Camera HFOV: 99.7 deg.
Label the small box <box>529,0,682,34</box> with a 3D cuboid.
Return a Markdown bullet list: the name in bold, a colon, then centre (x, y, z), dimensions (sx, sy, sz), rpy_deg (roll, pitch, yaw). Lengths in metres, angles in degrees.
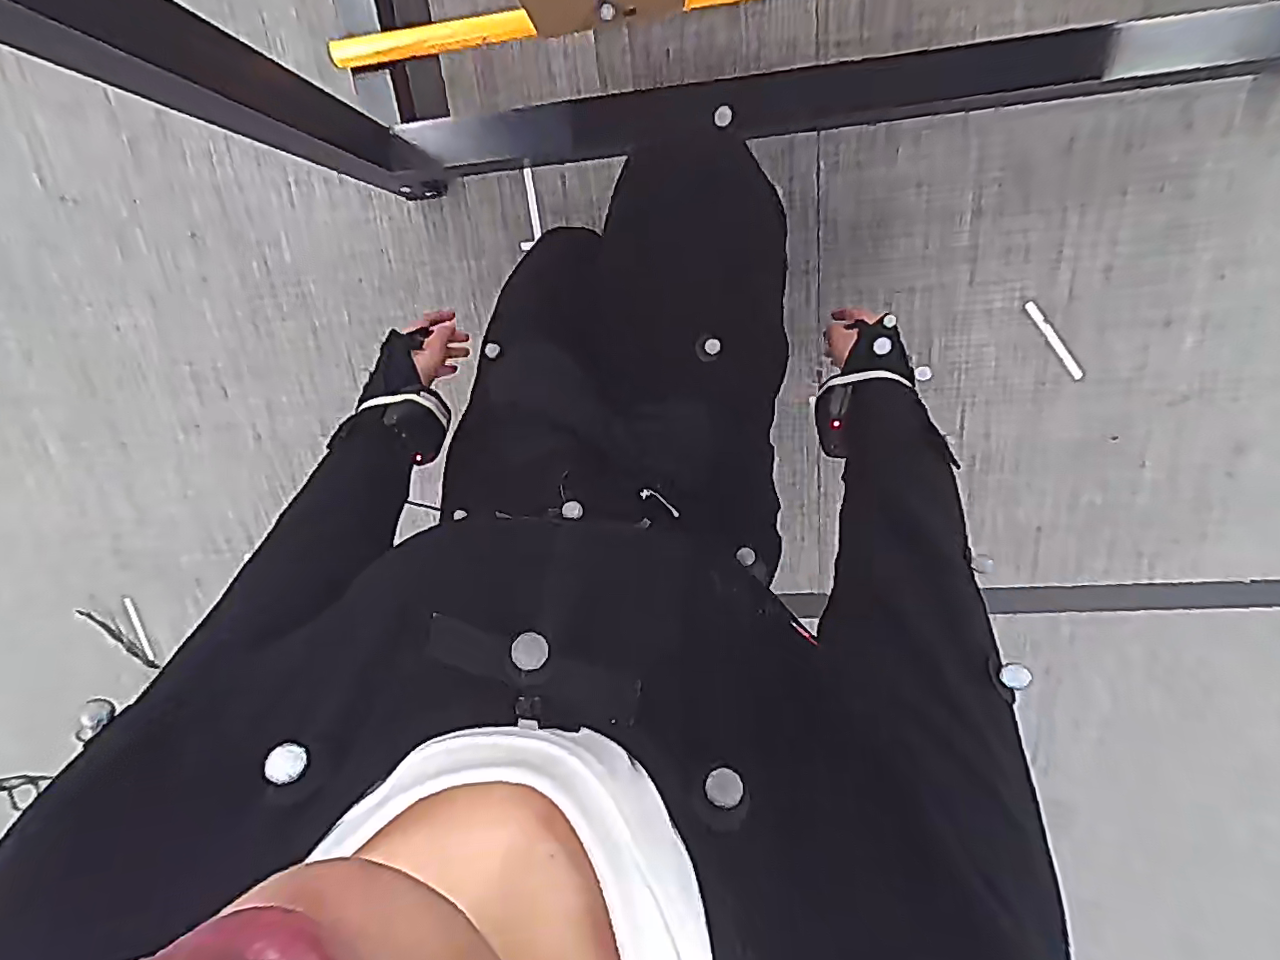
- **small box**: centre (-0.047, -0.554, 0.486), dimensions (0.168, 0.176, 0.179), rpy_deg (-7, 109, 6)
